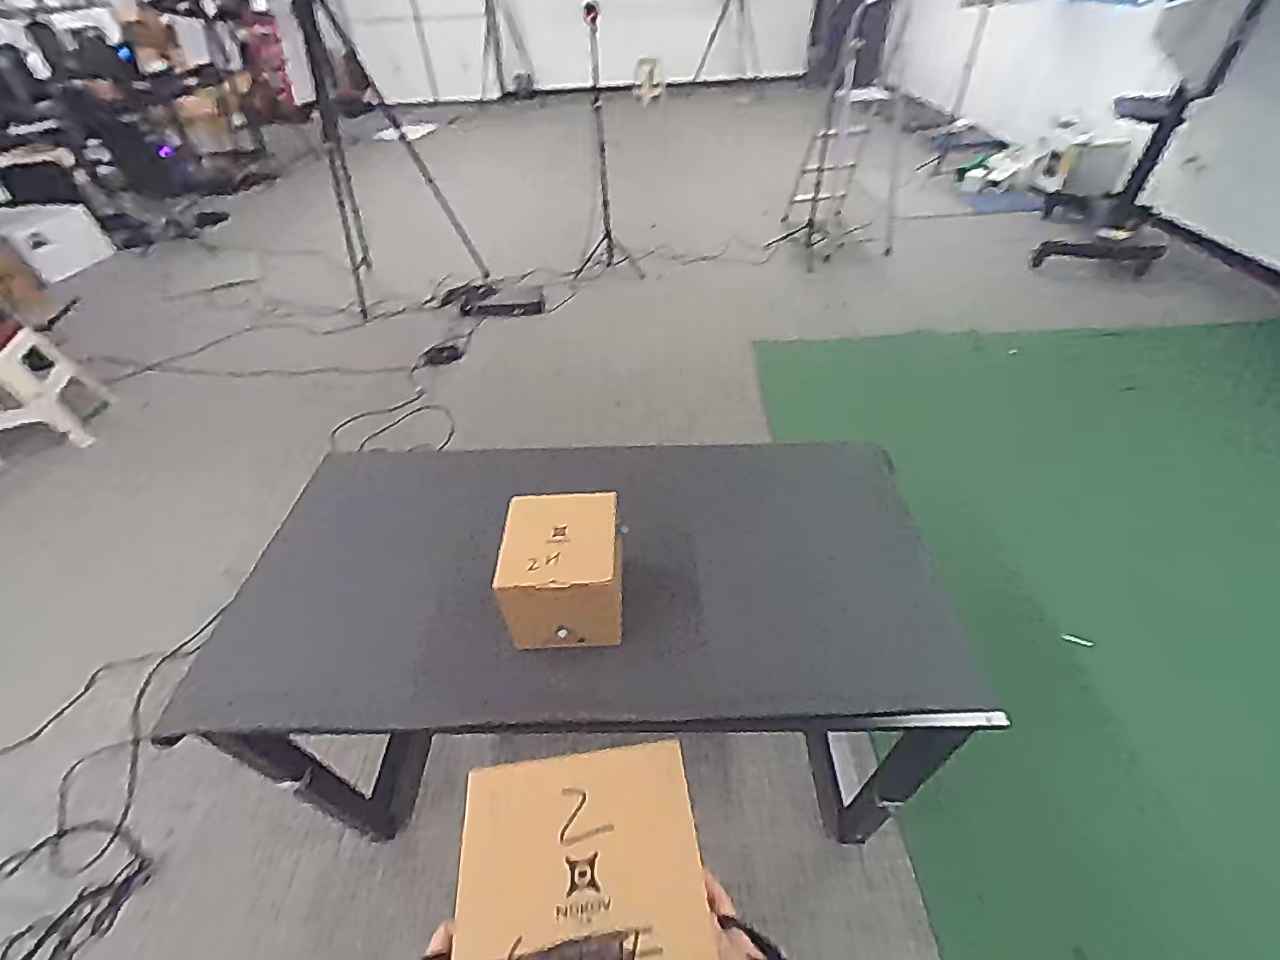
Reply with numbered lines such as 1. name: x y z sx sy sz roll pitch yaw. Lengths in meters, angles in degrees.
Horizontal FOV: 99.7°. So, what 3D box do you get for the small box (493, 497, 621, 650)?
1. small box: -0.118 0.147 0.851 0.168 0.176 0.179 -2 44 1
